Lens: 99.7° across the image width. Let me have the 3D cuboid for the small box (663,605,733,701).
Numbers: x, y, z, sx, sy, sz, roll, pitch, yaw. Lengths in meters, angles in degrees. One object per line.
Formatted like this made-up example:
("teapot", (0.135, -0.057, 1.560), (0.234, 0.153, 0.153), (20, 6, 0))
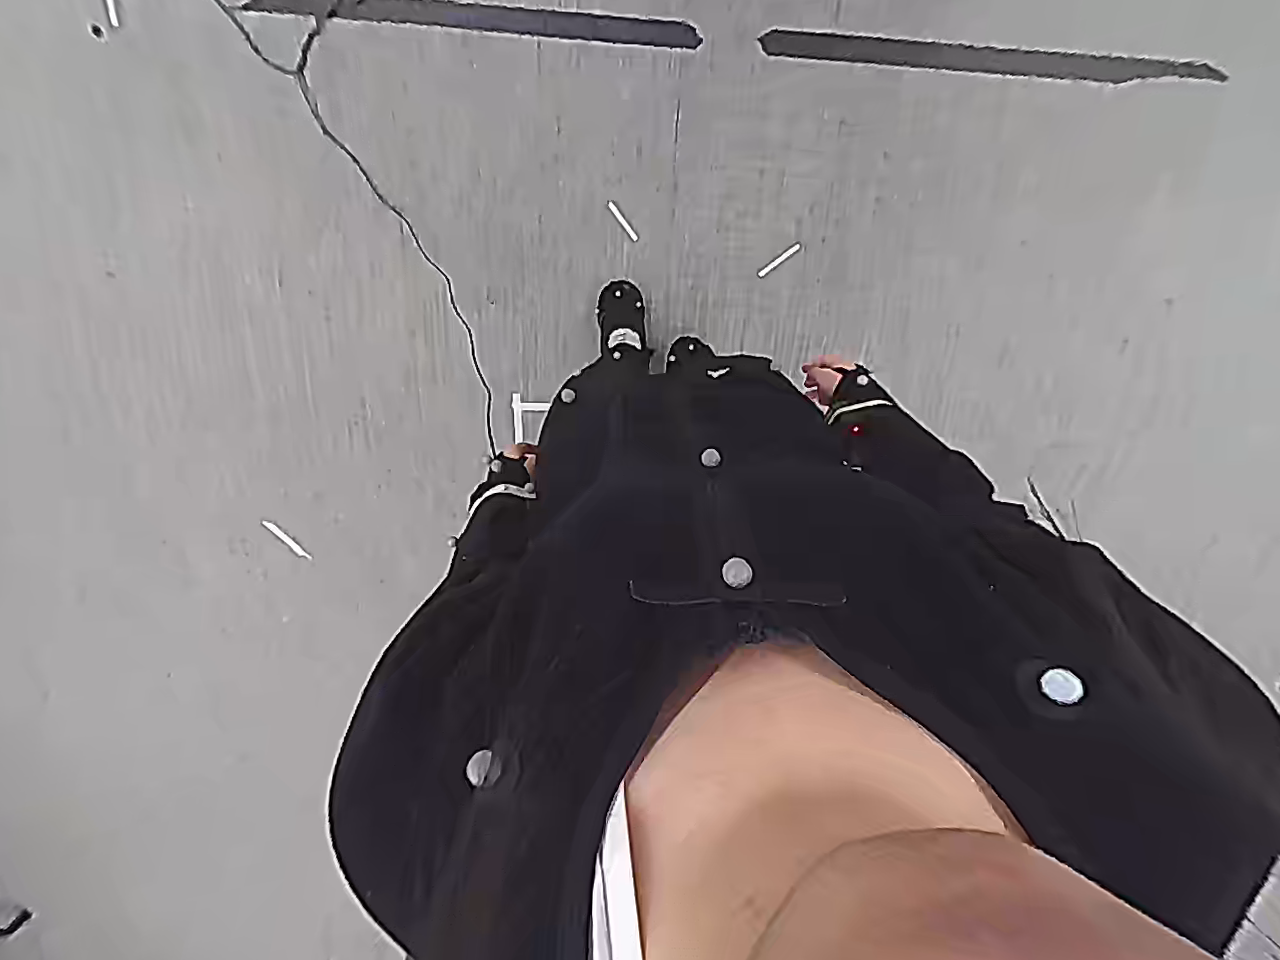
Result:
("small box", (0.145, 0.445, 1.401), (0.168, 0.176, 0.179), (-1, 109, 1))

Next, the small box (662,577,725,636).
("small box", (0.147, 0.391, 1.557), (0.168, 0.176, 0.179), (0, 108, 1))
